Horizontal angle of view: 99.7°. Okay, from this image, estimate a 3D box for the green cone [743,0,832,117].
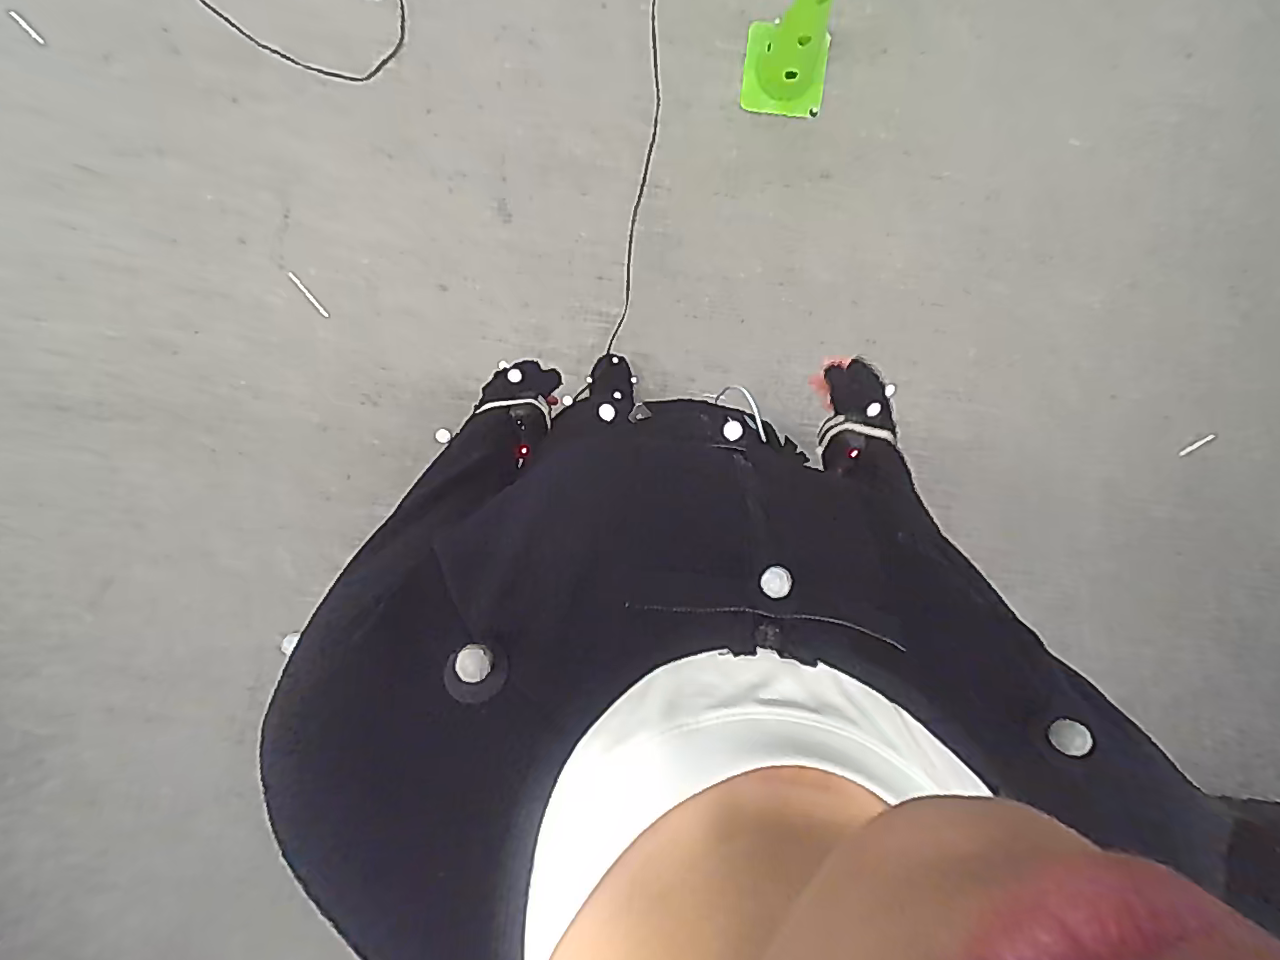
[{"bbox_3d":[0.355,-0.980,1.153,0.202,0.368,0.200,6,98,1],"label":"green cone"}]
